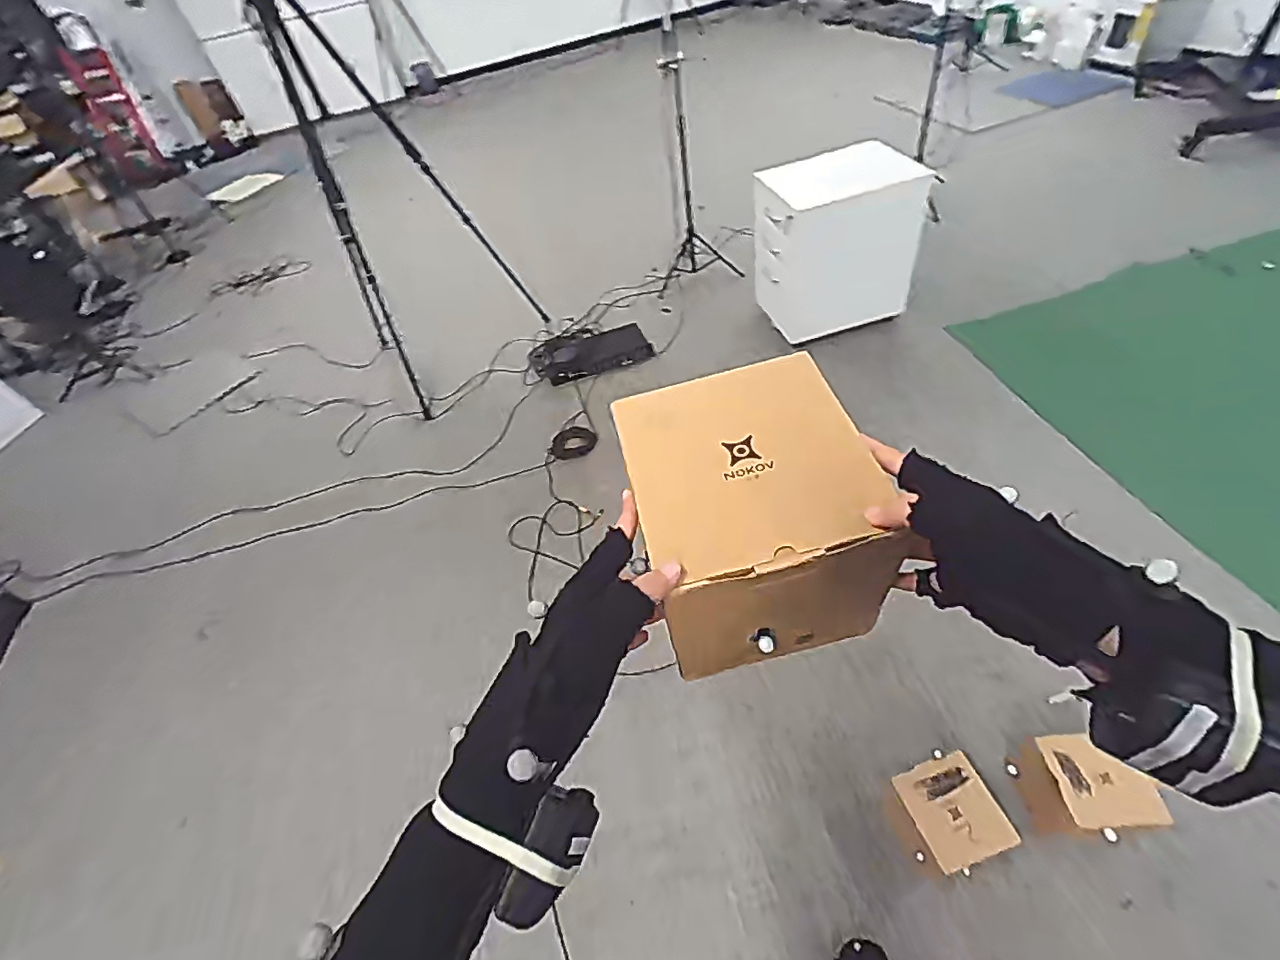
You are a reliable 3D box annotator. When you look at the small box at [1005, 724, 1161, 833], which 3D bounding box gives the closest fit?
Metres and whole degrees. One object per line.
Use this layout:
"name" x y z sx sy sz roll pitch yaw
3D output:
"small box" 0.905 0.629 1.133 0.179 0.176 0.168 -7 49 4
